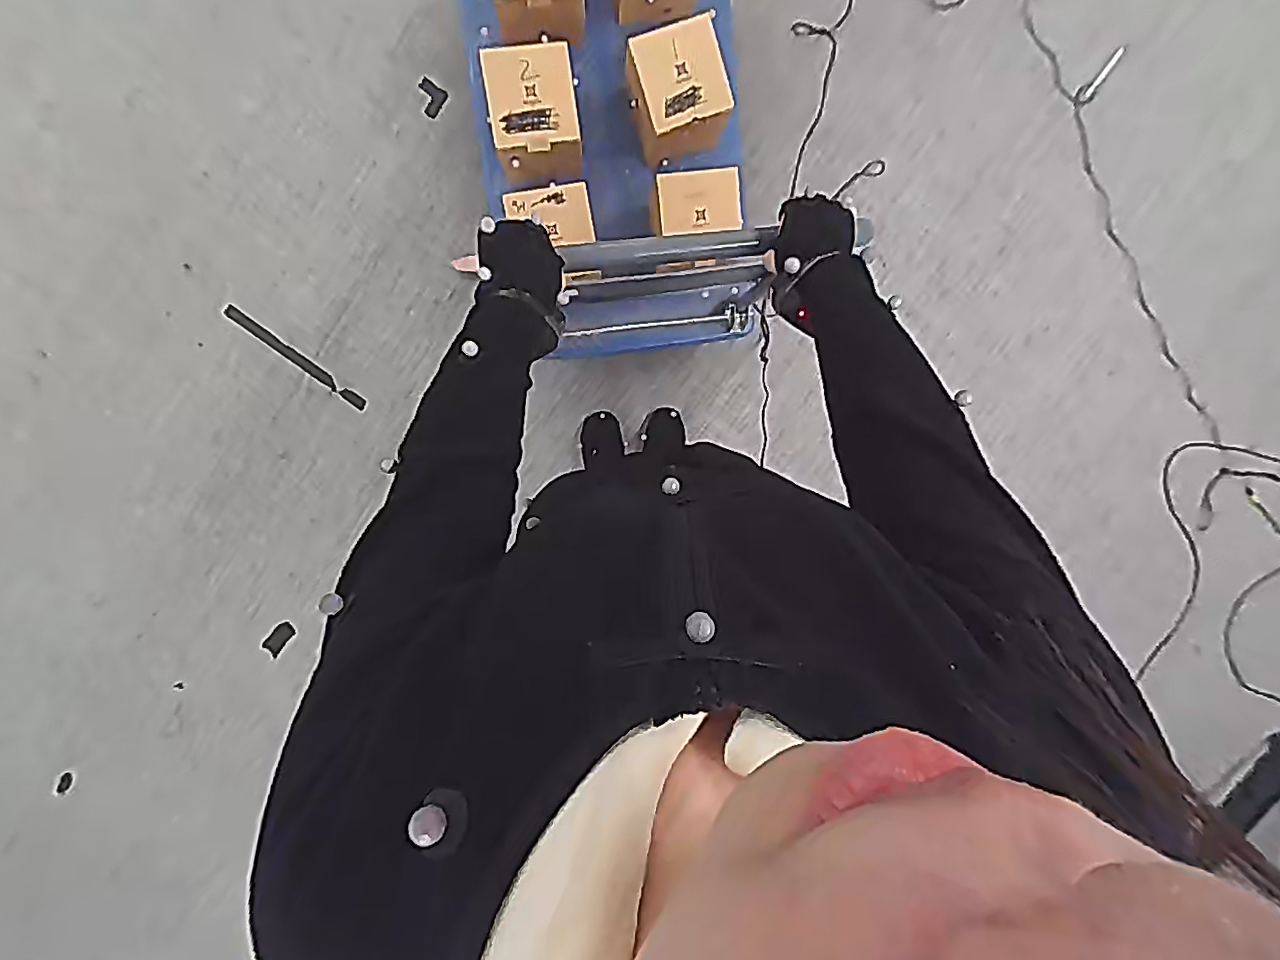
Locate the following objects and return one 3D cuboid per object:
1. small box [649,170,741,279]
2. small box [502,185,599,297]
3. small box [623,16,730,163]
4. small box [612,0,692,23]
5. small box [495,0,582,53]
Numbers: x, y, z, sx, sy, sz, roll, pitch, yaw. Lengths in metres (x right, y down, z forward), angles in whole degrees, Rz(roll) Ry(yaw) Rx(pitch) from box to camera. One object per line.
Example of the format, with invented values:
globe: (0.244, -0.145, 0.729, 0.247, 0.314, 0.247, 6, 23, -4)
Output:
small box: (0.113, -0.538, 1.164, 0.168, 0.176, 0.179, -7, 99, -4)
small box: (-0.181, -0.494, 1.145, 0.168, 0.176, 0.179, -11, 100, -4)
small box: (0.070, -0.789, 1.118, 0.168, 0.176, 0.179, -19, 100, -2)
small box: (0.021, -1.053, 1.071, 0.168, 0.176, 0.179, -10, 100, -3)
small box: (-0.204, -0.986, 1.061, 0.168, 0.176, 0.179, -6, 101, -4)
